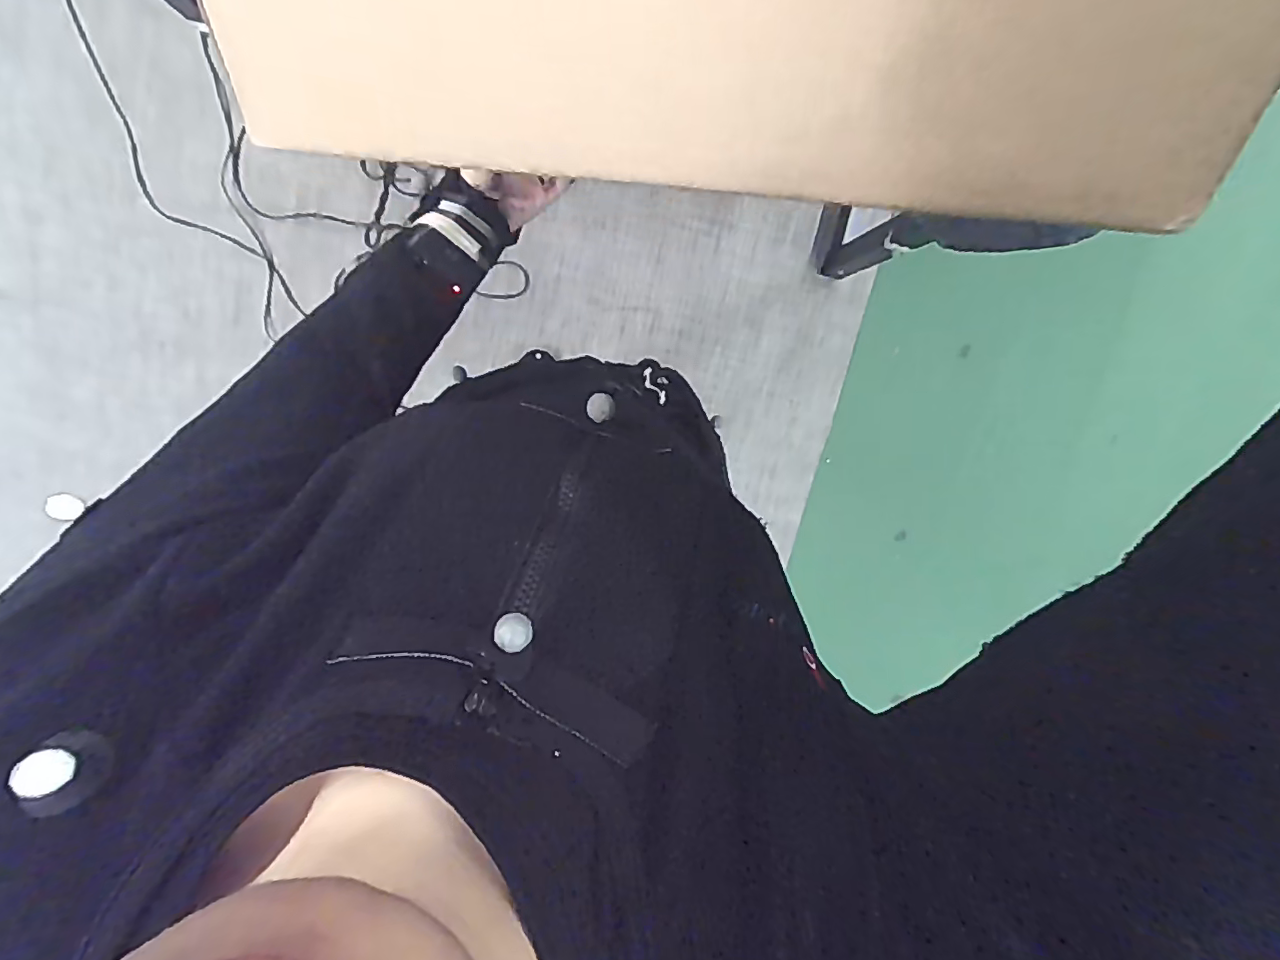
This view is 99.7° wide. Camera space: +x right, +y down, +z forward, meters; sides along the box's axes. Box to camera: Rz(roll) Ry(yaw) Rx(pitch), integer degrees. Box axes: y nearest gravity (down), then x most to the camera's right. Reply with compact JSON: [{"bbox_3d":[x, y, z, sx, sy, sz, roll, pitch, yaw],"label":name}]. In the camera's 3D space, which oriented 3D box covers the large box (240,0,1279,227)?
[{"bbox_3d":[0.049,-0.330,0.258,0.408,0.320,0.320,12,128,16],"label":"large box"}]
